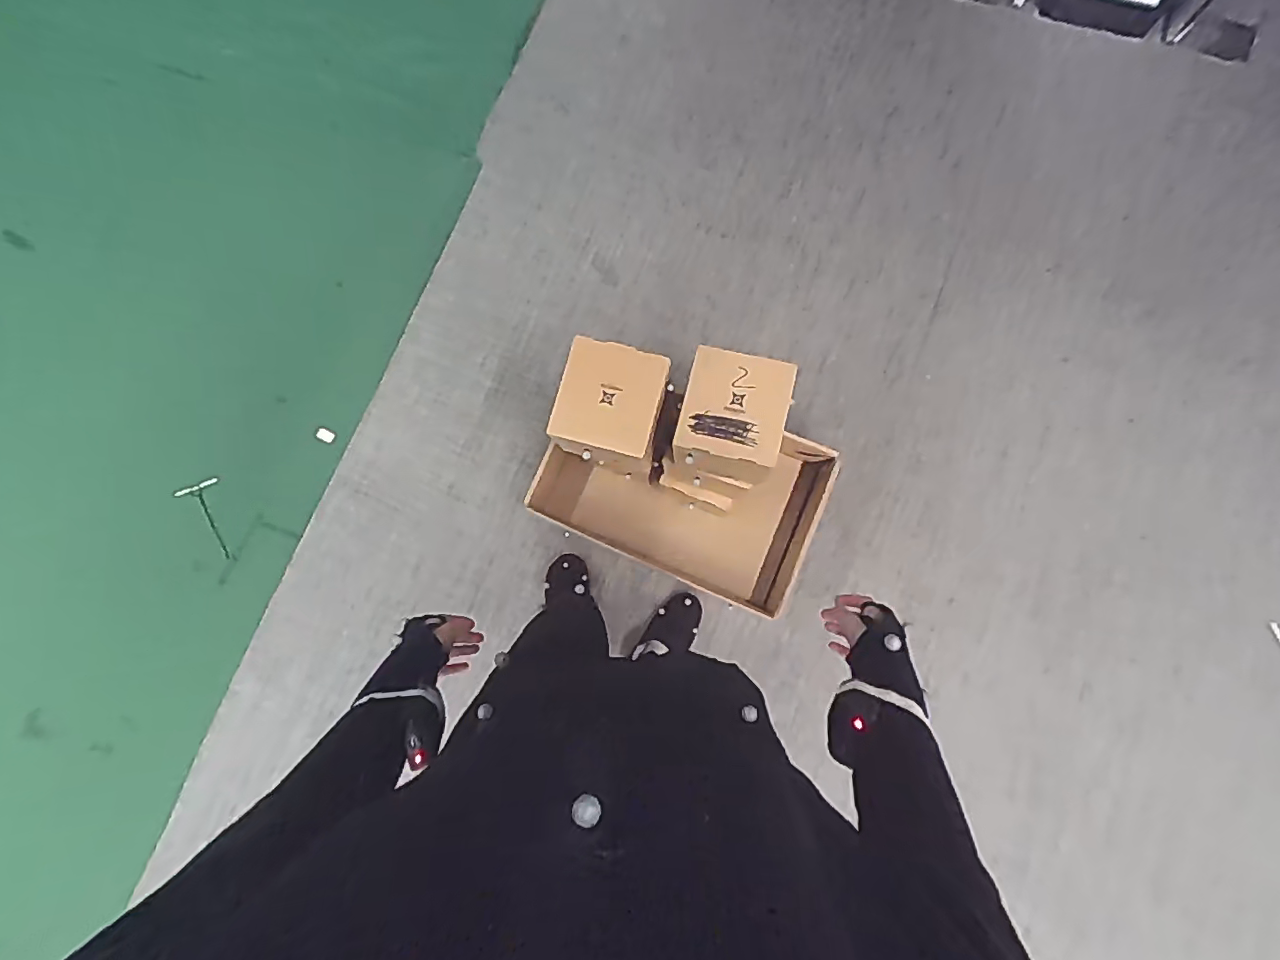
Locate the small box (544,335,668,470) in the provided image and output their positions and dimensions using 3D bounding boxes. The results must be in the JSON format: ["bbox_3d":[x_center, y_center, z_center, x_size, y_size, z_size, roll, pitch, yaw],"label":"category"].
[{"bbox_3d":[-0.049,-0.126,0.953,0.168,0.176,0.179,15,83,6],"label":"small box"}]

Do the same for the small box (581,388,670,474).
[{"bbox_3d":[-0.043,-0.119,1.116,0.179,0.176,0.168,19,84,7],"label":"small box"}]

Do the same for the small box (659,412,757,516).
[{"bbox_3d":[0.155,-0.030,1.253,0.168,0.176,0.179,23,84,10],"label":"small box"}]
